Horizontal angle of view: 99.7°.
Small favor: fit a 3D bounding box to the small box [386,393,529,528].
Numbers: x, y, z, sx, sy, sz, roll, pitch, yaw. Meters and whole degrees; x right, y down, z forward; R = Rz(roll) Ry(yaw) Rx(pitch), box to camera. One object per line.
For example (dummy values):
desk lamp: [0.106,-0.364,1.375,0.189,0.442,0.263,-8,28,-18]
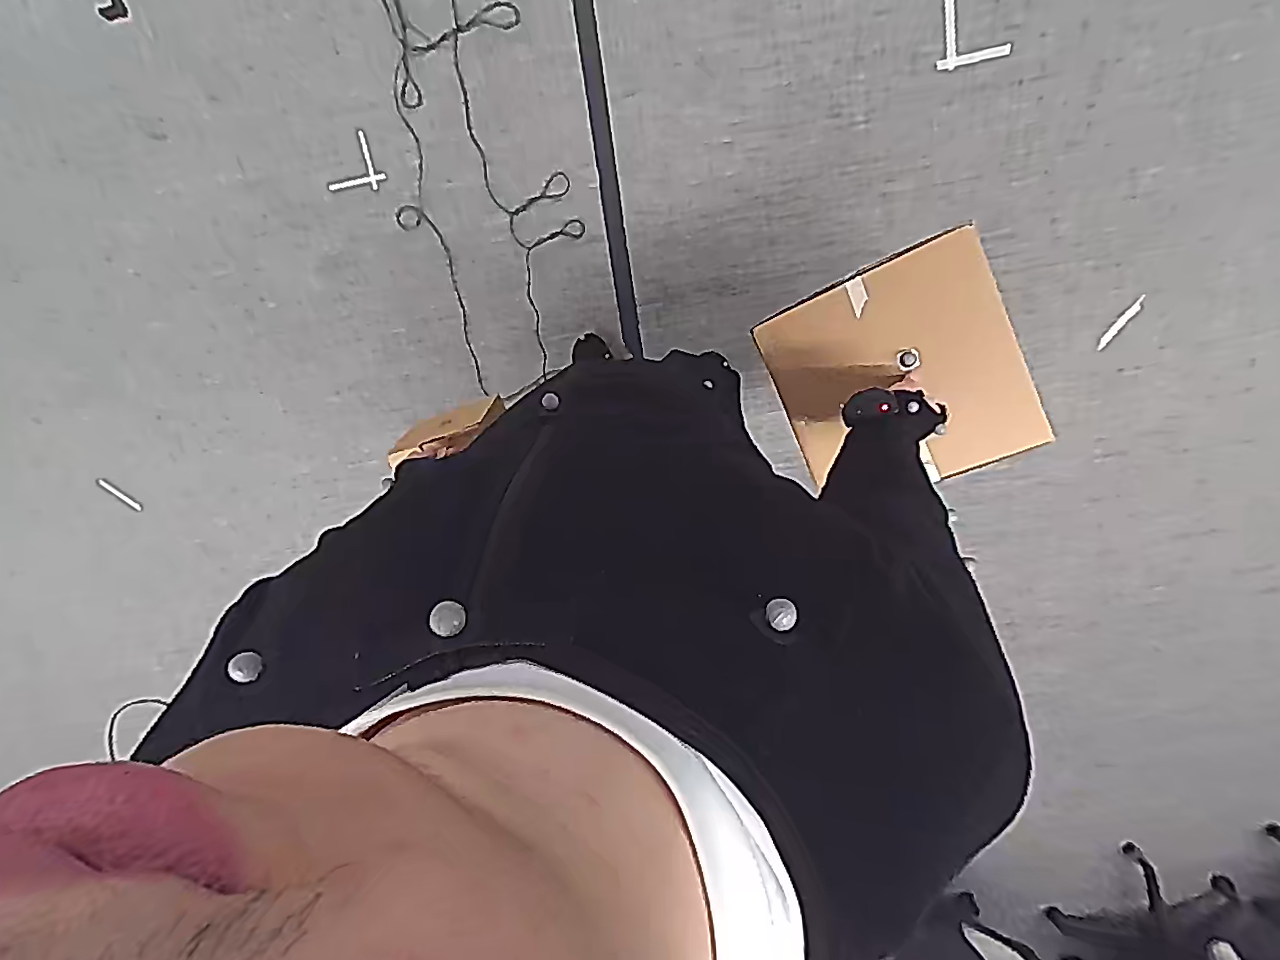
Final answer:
small box: [-0.312,-0.030,0.969,0.168,0.179,0.176,-17,116,4]
